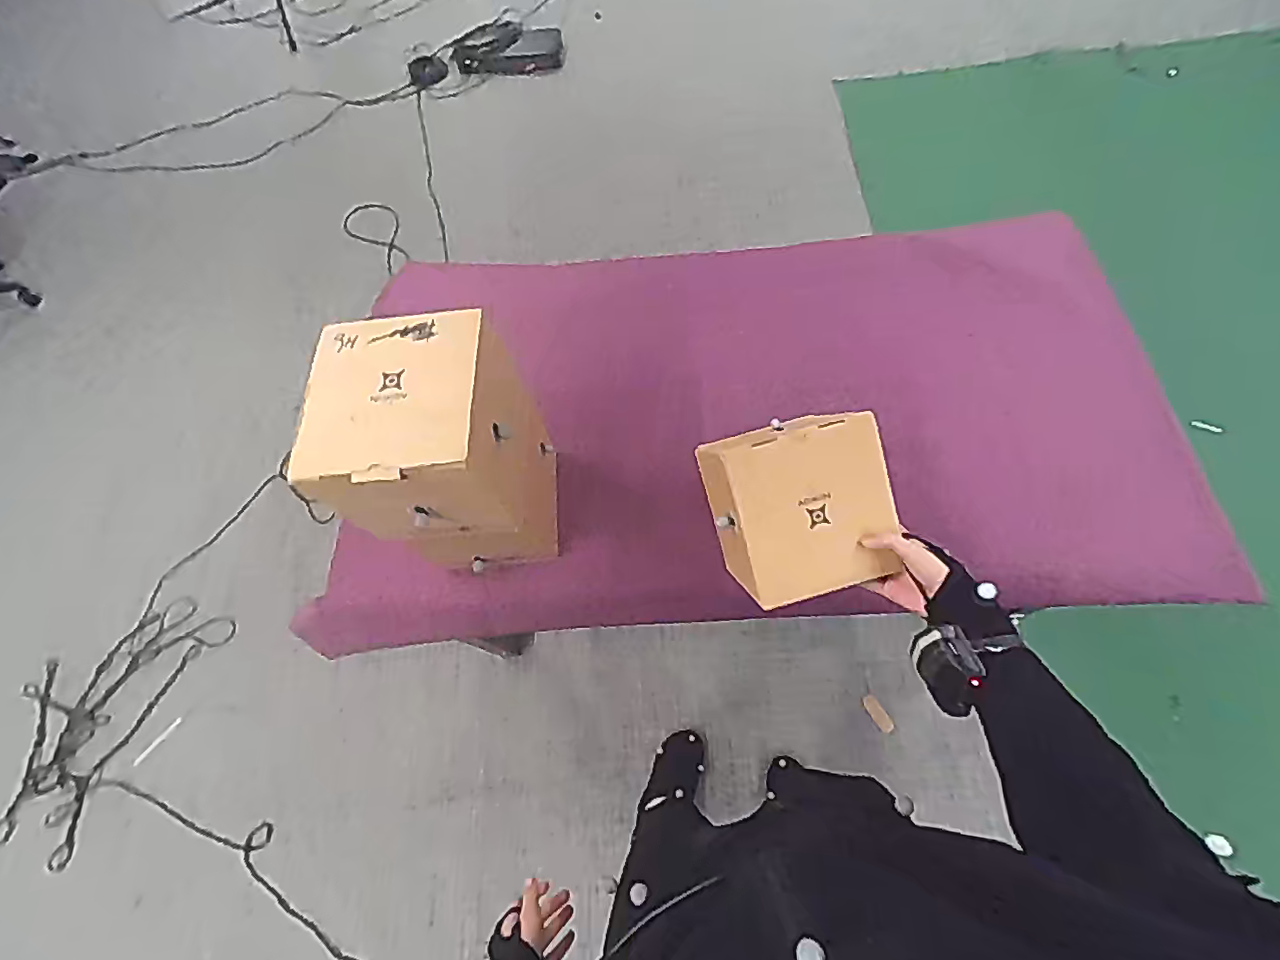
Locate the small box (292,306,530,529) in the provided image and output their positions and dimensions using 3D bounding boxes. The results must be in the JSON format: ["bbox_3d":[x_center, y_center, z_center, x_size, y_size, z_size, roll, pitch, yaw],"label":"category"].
[{"bbox_3d":[-0.221,-0.053,0.574,0.168,0.176,0.179,-5,65,4],"label":"small box"}]

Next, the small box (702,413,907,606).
[{"bbox_3d":[0.182,0.024,0.645,0.168,0.176,0.179,-16,95,-1],"label":"small box"}]

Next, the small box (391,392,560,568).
[{"bbox_3d":[-0.207,0.006,0.726,0.168,0.176,0.179,-6,65,3],"label":"small box"}]
